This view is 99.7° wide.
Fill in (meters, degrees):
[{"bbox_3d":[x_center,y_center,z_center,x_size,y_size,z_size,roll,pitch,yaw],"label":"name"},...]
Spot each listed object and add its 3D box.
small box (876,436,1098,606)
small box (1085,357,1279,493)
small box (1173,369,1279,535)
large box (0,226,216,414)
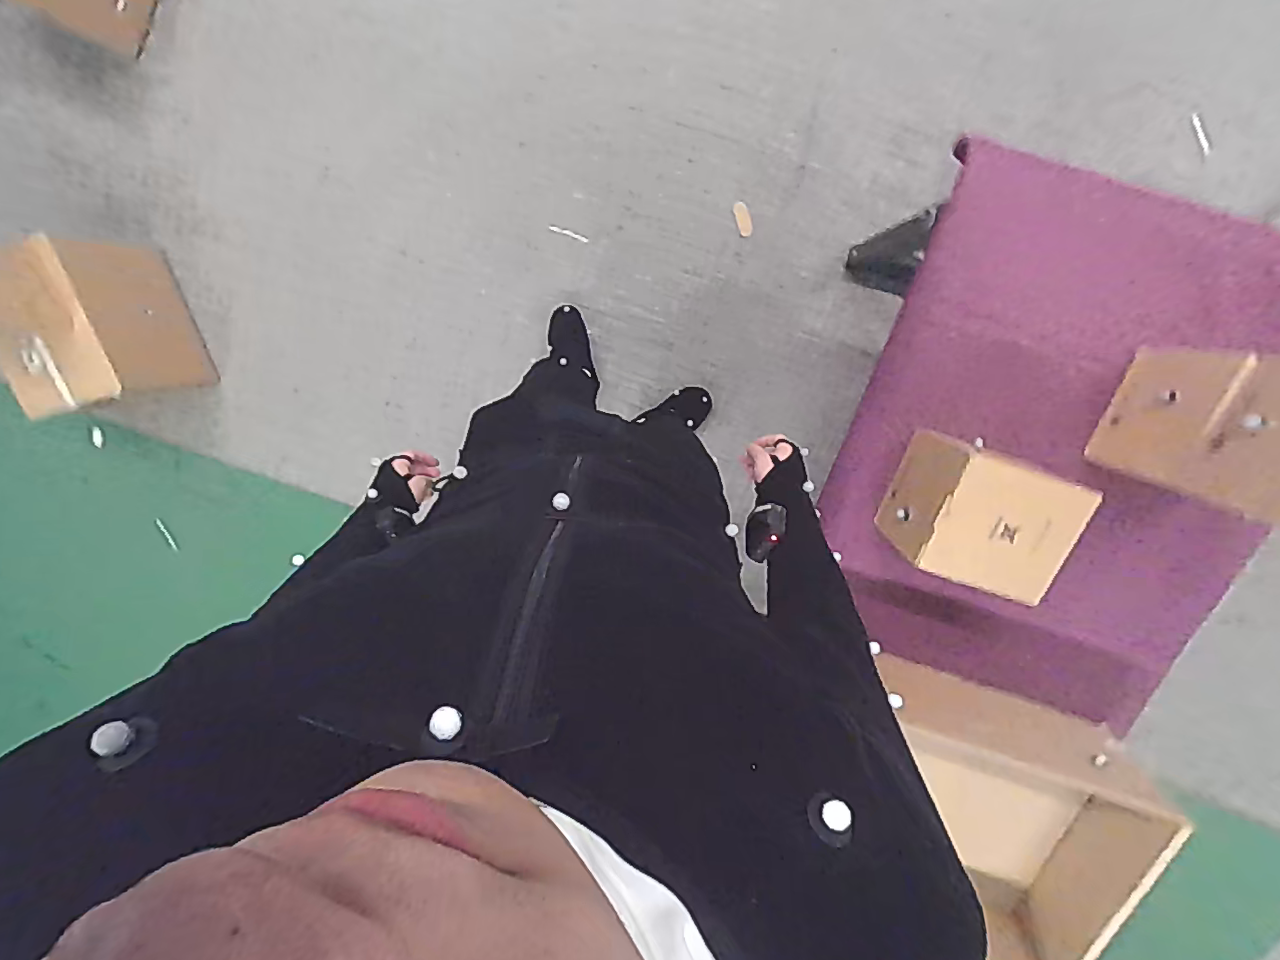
[{"bbox_3d":[0.471,0.047,0.771,0.179,0.176,0.168,19,107,-2],"label":"small box"},{"bbox_3d":[0.758,-0.060,0.717,0.179,0.176,0.168,17,106,0],"label":"small box"},{"bbox_3d":[0.744,-0.009,0.561,0.179,0.176,0.168,21,106,-1],"label":"small box"},{"bbox_3d":[-1.515,-0.434,1.505,0.320,0.320,0.408,-13,105,9],"label":"large box"}]
